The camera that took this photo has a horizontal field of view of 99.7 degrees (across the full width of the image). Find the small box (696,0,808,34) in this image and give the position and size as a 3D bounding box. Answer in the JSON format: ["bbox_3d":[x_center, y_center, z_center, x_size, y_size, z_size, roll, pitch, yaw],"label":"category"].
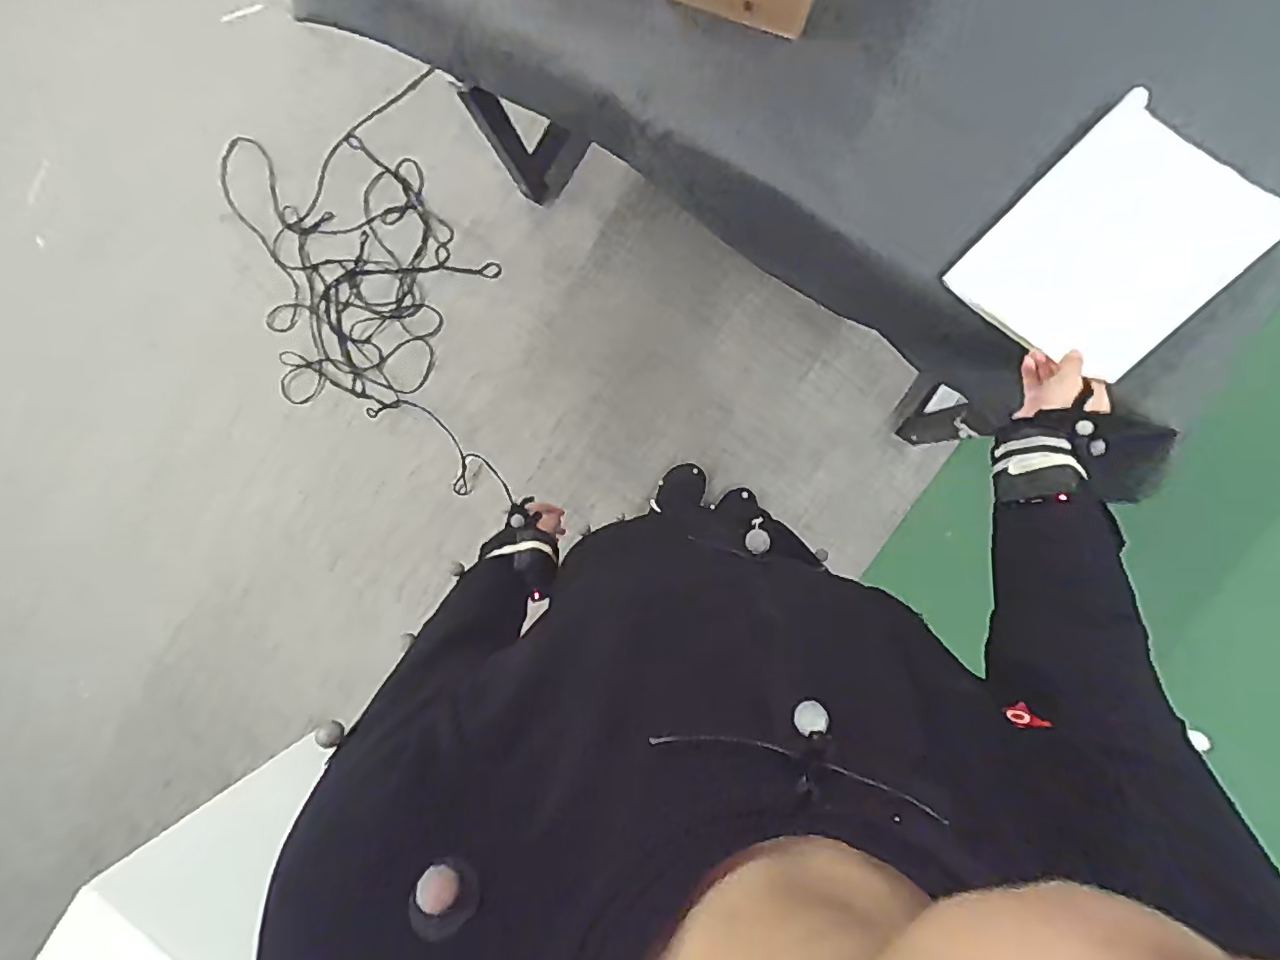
[{"bbox_3d":[0.124,-0.611,0.542,0.168,0.176,0.179,23,92,4],"label":"small box"}]
